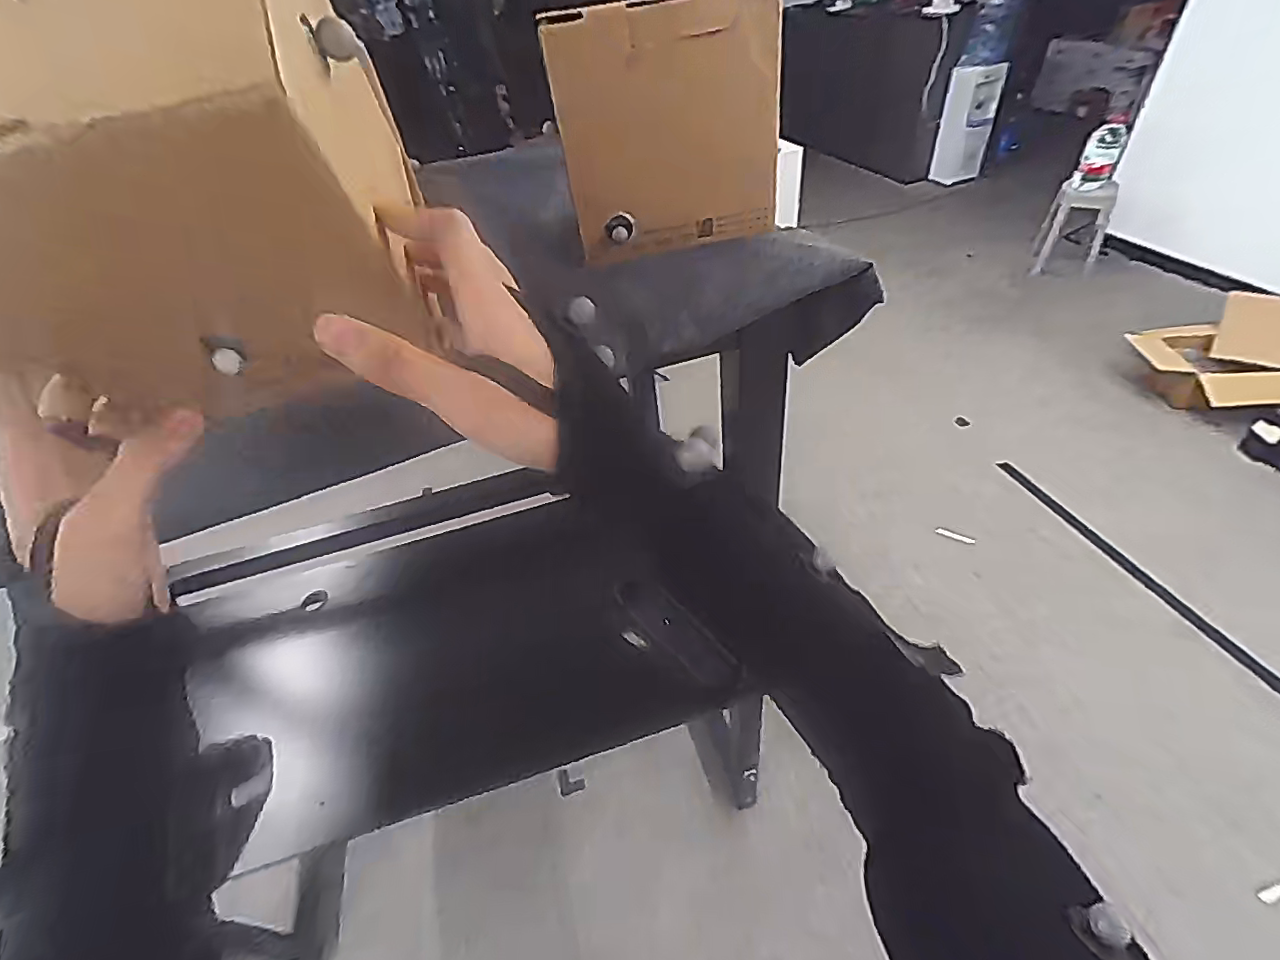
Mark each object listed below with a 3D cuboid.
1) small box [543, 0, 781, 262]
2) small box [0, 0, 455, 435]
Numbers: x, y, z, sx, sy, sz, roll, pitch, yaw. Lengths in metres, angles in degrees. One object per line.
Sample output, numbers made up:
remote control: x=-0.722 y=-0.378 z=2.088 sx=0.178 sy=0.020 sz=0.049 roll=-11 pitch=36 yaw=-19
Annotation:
small box: x=0.018 y=-0.302 z=0.468 sx=0.168 sy=0.176 sz=0.179 roll=-10 pitch=42 yaw=0
small box: x=-0.210 y=-0.147 z=0.266 sx=0.168 sy=0.176 sz=0.179 roll=-17 pitch=74 yaw=-6
